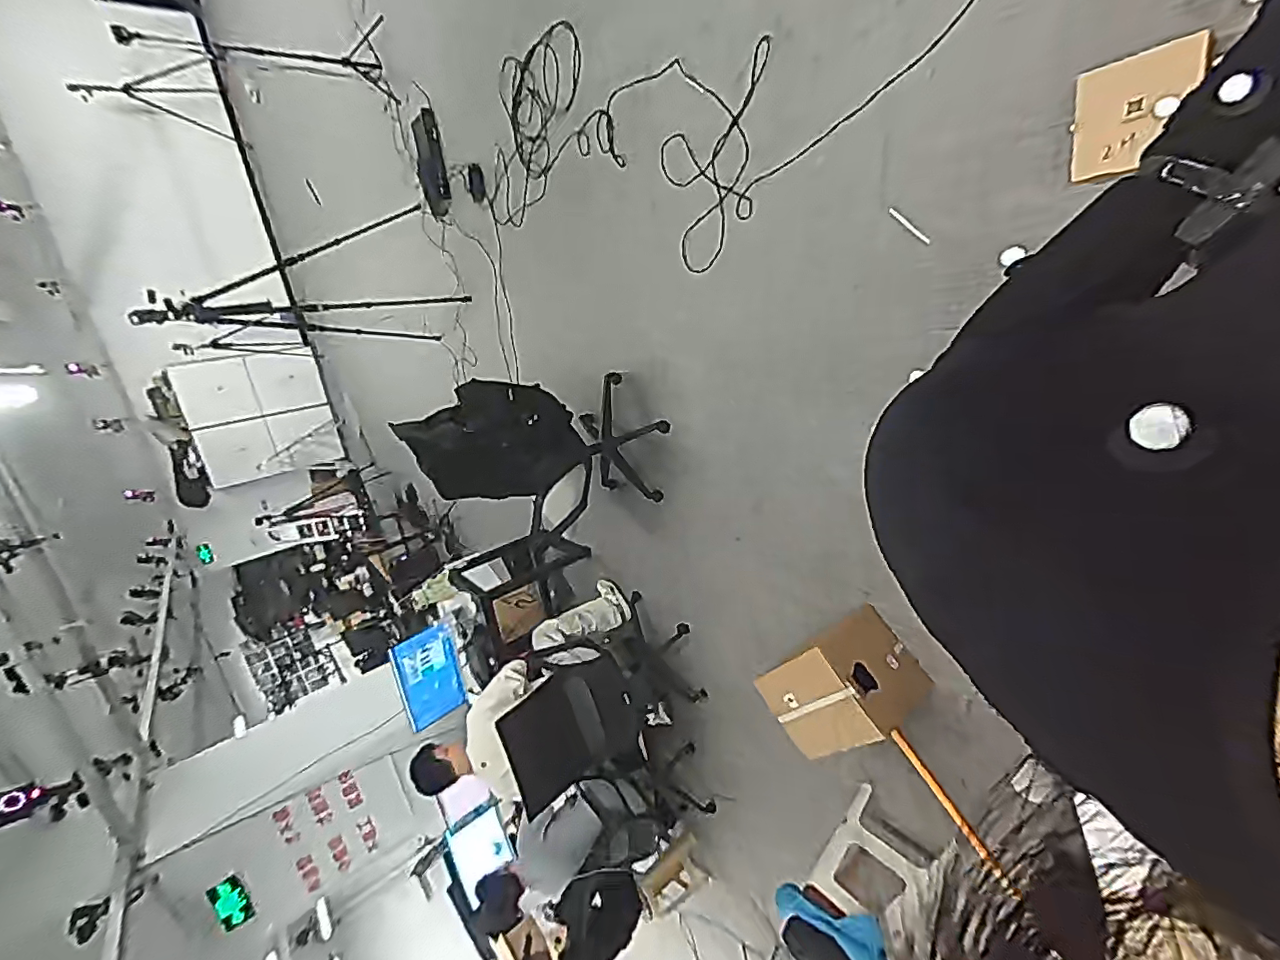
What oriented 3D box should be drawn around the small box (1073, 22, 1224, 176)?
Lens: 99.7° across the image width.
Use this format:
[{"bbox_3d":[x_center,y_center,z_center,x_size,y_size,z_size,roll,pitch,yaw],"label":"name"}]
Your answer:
[{"bbox_3d":[0.904,-0.660,0.964,0.168,0.176,0.179,11,117,51],"label":"small box"}]
